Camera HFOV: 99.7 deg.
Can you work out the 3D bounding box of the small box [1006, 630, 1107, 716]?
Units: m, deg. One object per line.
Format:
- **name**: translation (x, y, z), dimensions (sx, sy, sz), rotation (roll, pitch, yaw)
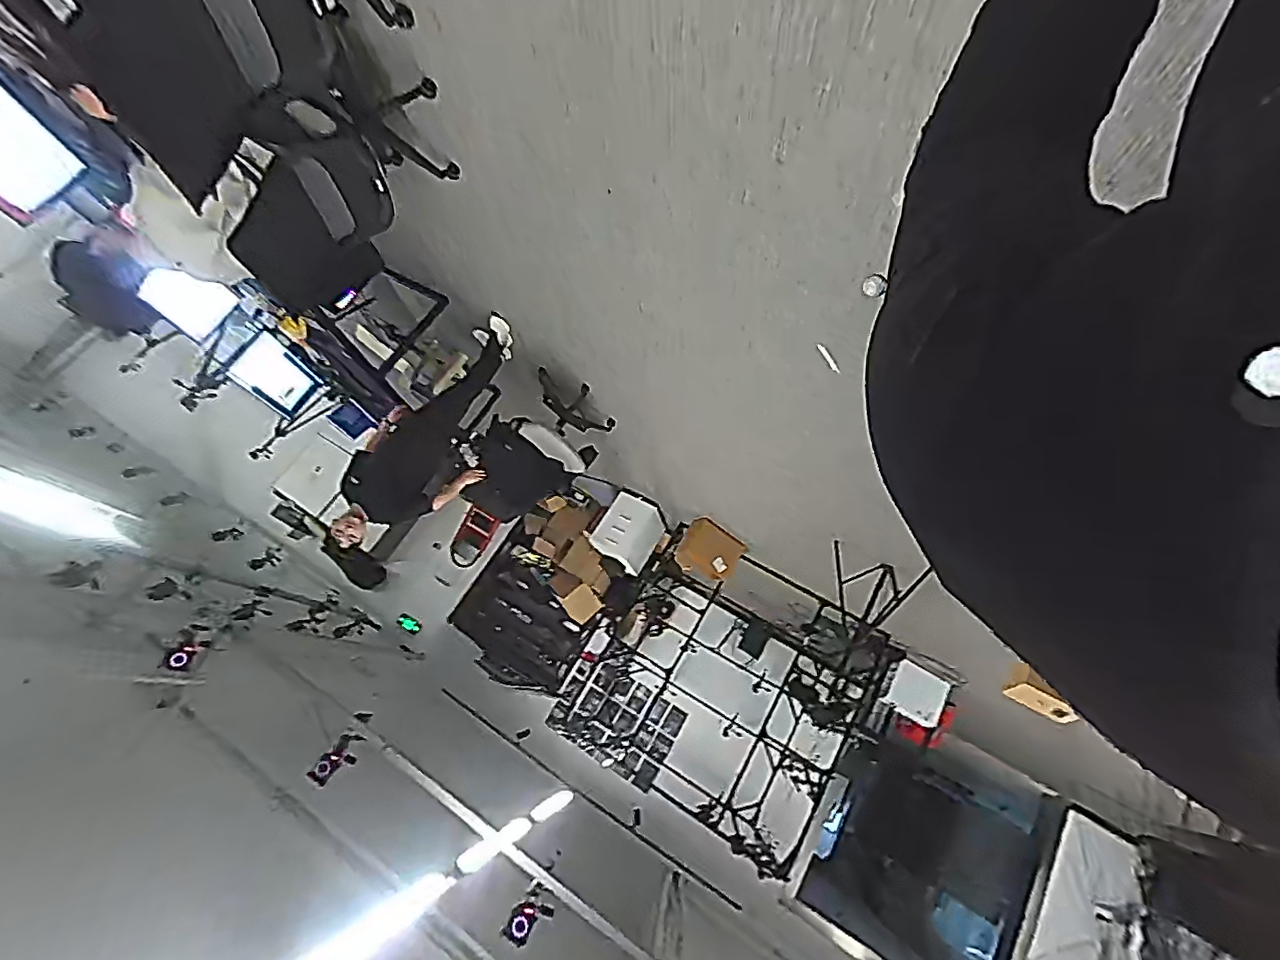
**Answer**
- **small box**: translation (1.251, 0.578, 1.625), dimensions (0.179, 0.176, 0.168), rotation (26, 158, 23)
